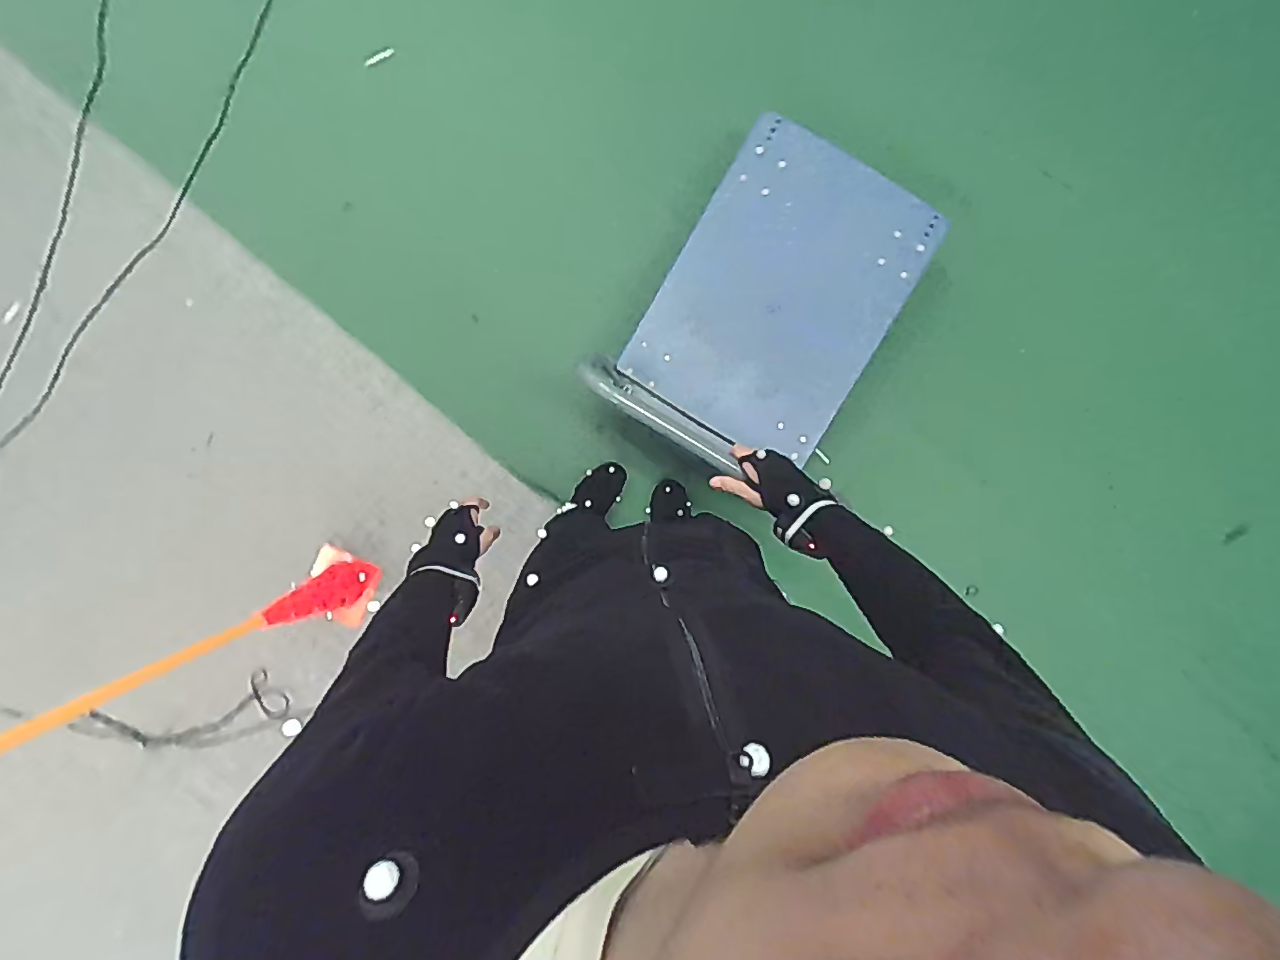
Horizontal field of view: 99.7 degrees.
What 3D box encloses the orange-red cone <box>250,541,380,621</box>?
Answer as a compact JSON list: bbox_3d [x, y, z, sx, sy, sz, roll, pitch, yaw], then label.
[{"bbox_3d":[-0.913,0.312,1.469,0.199,0.360,0.198,26,93,0],"label":"orange-red cone"}]
